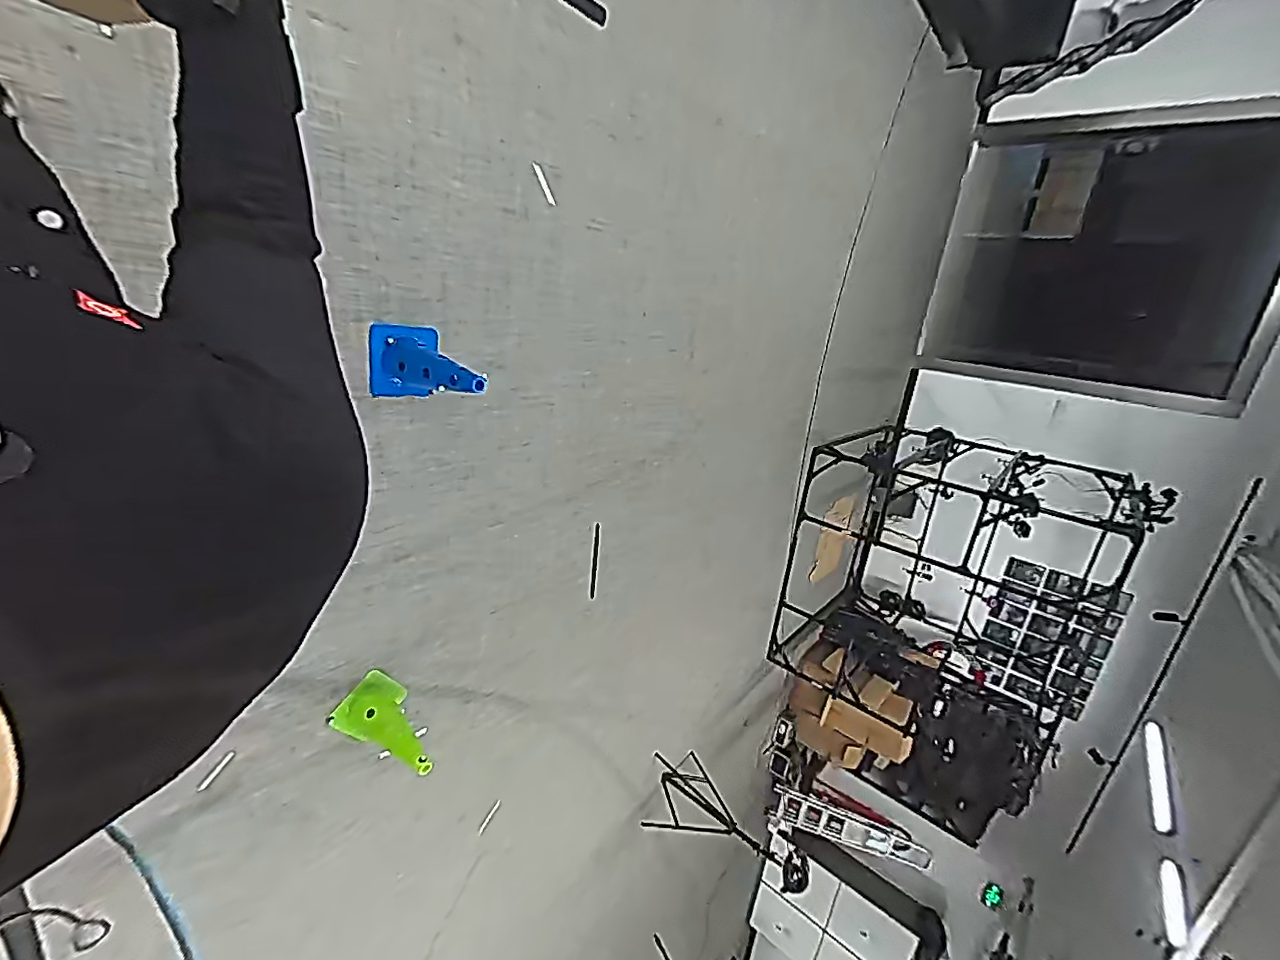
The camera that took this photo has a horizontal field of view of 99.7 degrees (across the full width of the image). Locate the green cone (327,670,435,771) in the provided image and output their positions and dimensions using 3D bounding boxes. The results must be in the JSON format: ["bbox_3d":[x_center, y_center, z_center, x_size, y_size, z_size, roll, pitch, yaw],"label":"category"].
[{"bbox_3d":[-0.756,0.786,1.675,0.202,0.368,0.200,-52,142,-25],"label":"green cone"}]

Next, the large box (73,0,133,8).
[{"bbox_3d":[-0.509,-0.515,0.253,0.408,0.320,0.320,-10,124,-51],"label":"large box"}]

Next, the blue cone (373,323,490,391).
[{"bbox_3d":[-0.539,-0.301,1.447,0.192,0.380,0.193,-12,116,-51],"label":"blue cone"}]
